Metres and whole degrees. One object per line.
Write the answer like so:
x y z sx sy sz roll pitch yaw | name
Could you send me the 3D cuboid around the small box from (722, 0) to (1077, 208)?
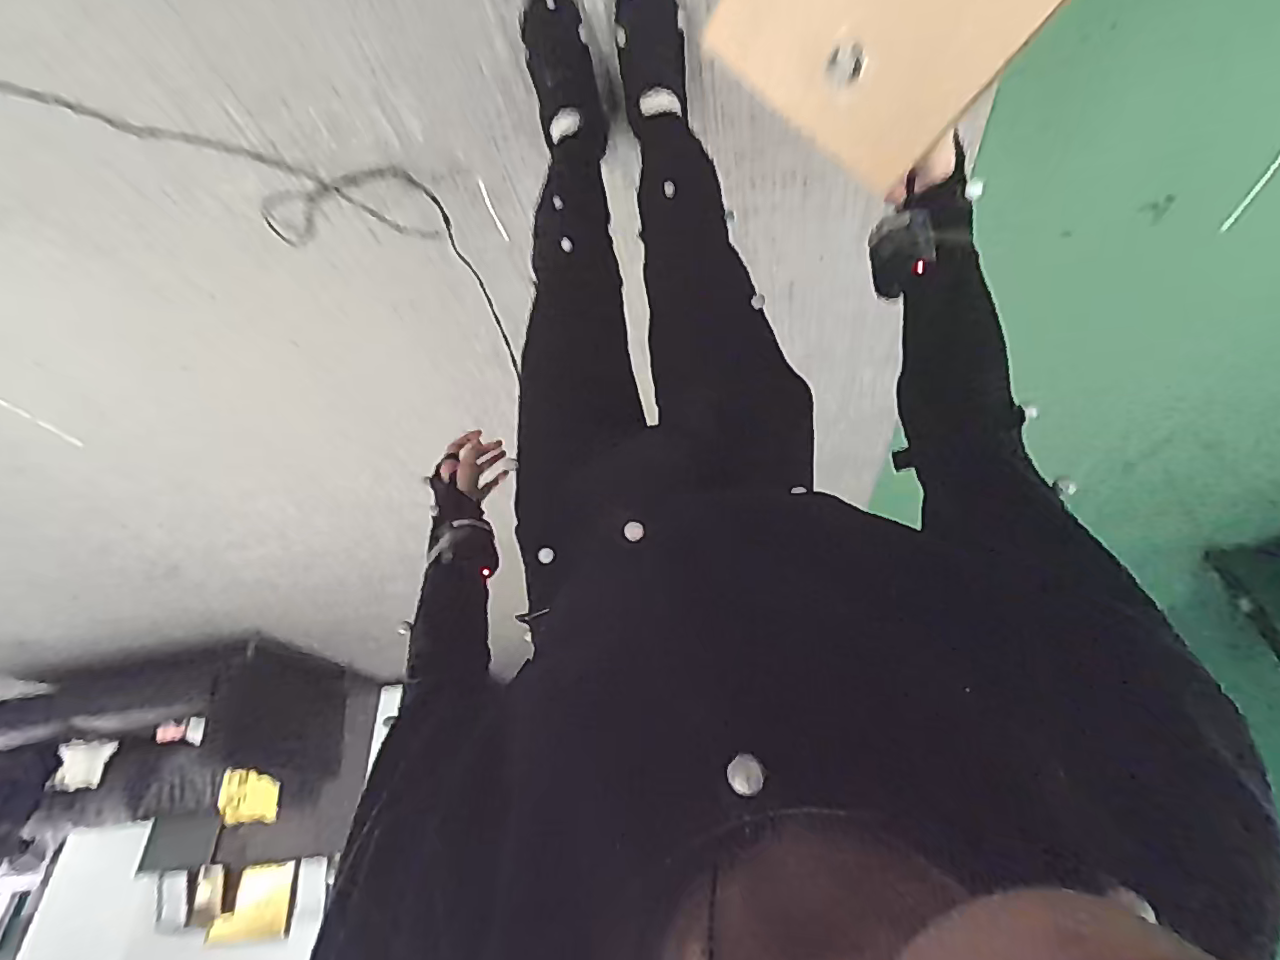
0.173 -0.329 0.360 0.176 0.168 0.179 36 139 -5 | small box
